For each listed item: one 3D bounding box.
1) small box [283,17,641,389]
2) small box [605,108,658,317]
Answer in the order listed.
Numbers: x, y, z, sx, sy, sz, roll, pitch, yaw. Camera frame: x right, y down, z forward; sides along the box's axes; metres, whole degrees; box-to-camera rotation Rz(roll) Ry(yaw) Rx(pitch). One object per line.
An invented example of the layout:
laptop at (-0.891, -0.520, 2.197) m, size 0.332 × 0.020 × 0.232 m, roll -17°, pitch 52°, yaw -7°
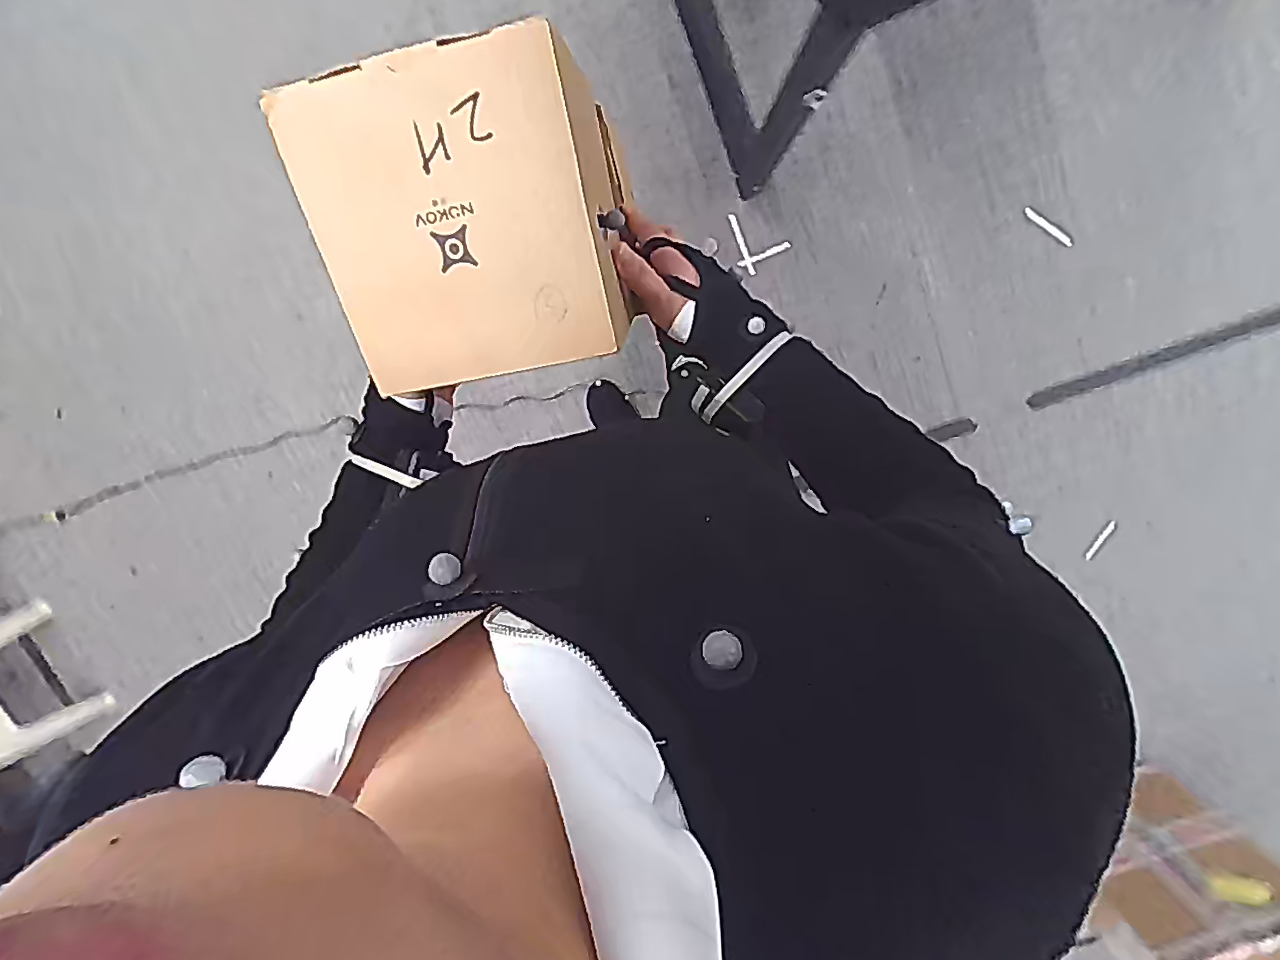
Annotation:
small box at (-0.096, -0.181, 0.390) m, size 0.168 × 0.176 × 0.179 m, roll -8°, pitch 113°, yaw 7°
small box at (-0.082, -0.243, 0.543) m, size 0.179 × 0.176 × 0.168 m, roll -11°, pitch 113°, yaw 9°
